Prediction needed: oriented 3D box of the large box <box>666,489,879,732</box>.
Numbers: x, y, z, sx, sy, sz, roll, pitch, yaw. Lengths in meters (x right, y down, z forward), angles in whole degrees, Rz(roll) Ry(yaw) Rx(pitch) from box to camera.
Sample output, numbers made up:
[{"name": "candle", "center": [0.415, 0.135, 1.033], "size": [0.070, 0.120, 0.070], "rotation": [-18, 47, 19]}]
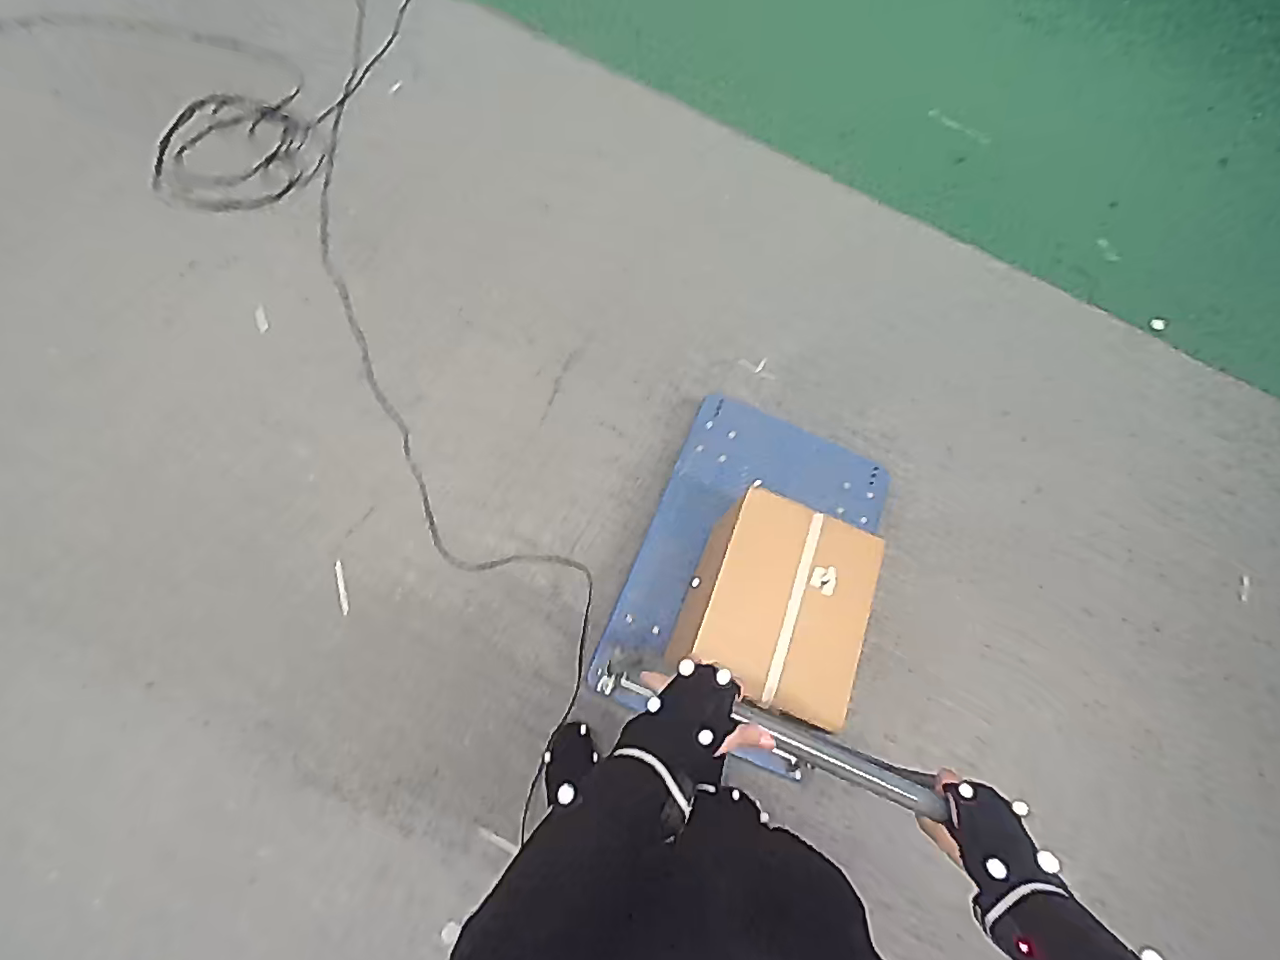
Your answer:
[{"name": "large box", "center": [0.281, 0.298, 1.211], "size": [0.320, 0.320, 0.408], "rotation": [23, 68, 1]}]
